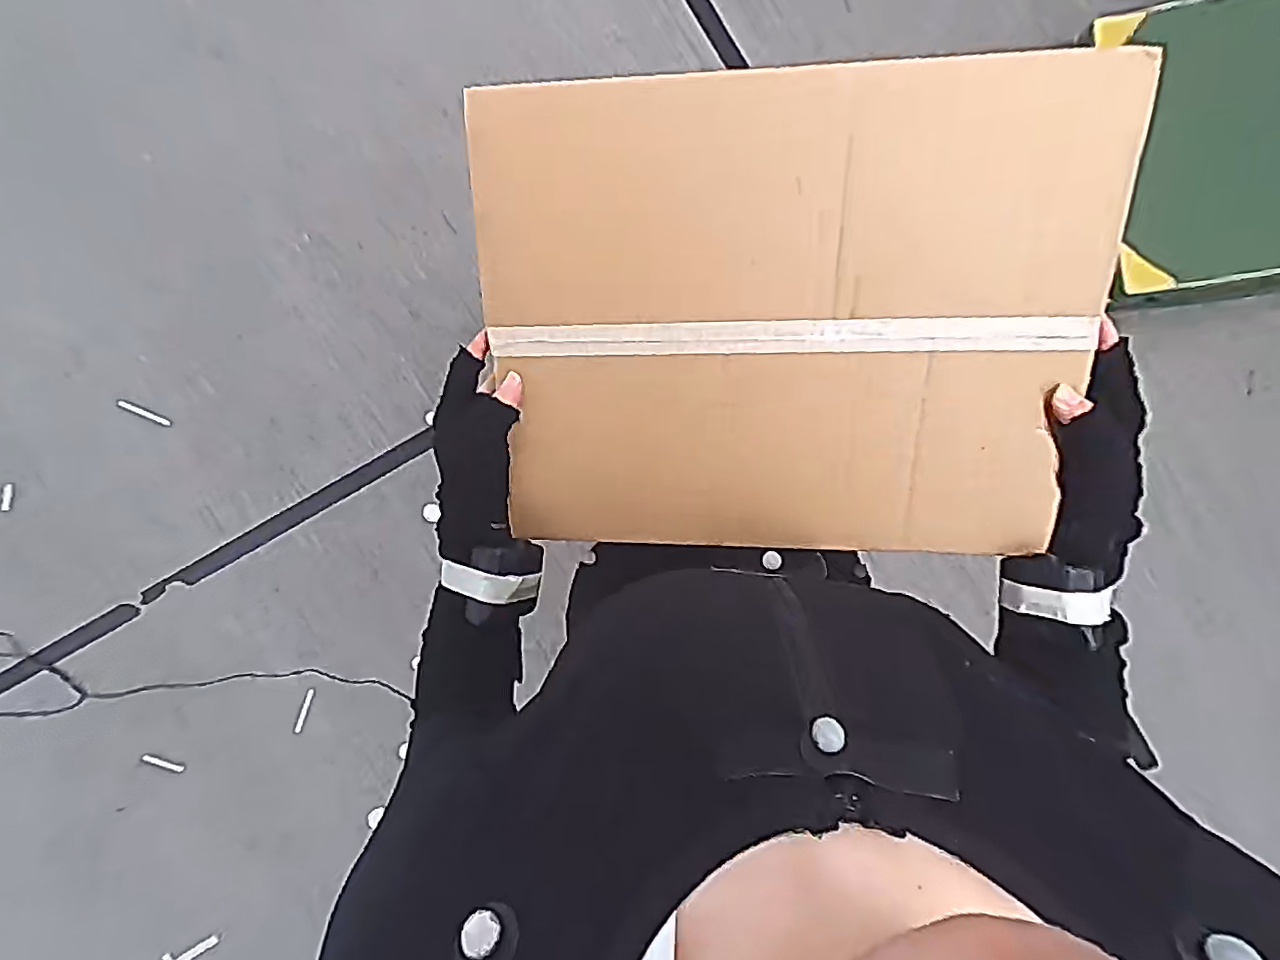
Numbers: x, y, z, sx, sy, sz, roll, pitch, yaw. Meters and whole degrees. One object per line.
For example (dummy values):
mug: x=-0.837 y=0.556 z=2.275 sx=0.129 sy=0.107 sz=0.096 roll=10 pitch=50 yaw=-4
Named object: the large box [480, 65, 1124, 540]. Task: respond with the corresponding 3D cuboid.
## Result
large box: x=0.108 y=-0.145 z=0.525 sx=0.408 sy=0.320 sz=0.320 roll=1 pitch=110 yaw=6
